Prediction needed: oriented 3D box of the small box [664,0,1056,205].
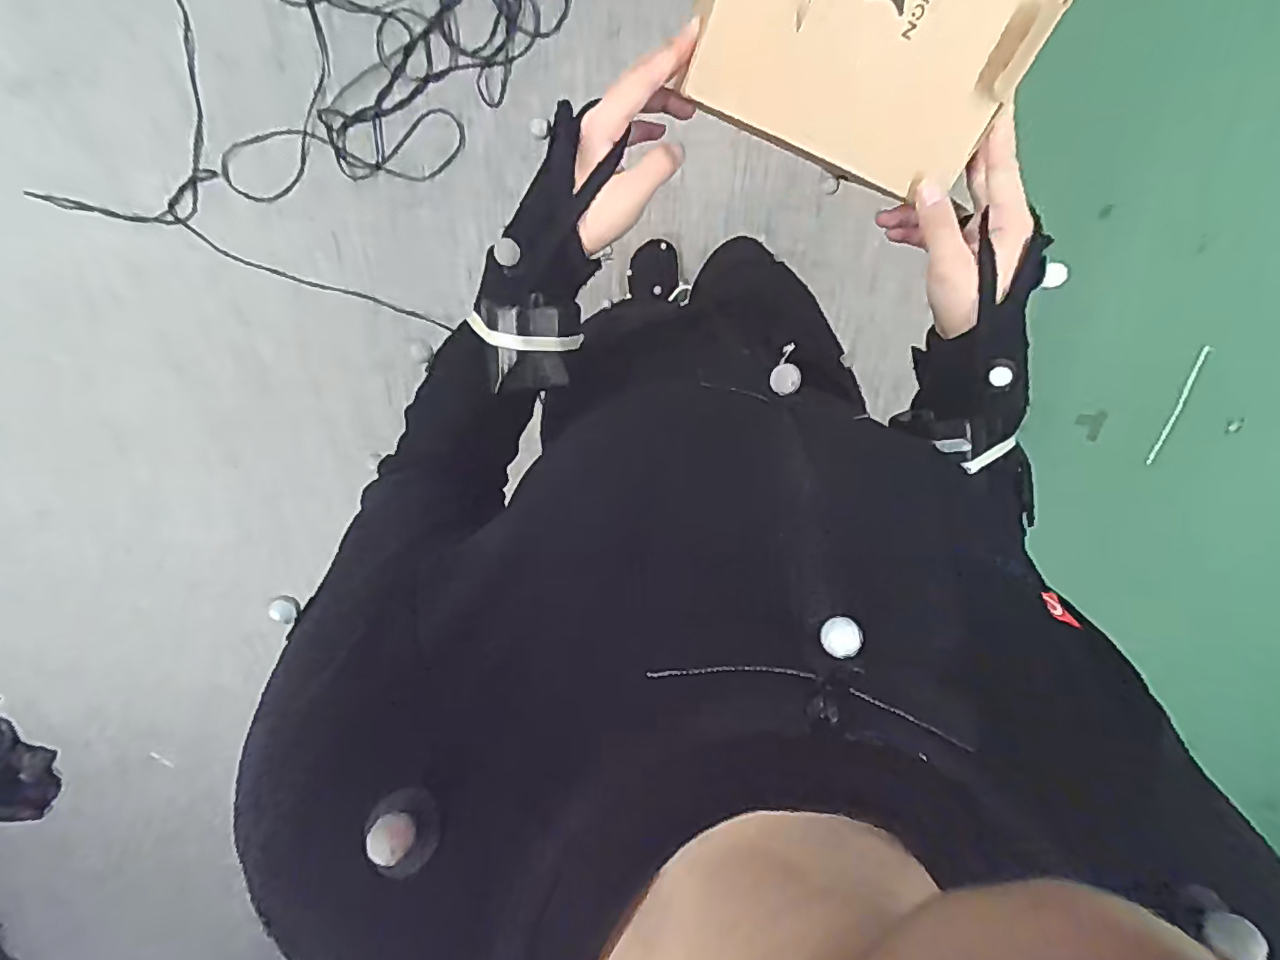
[{"bbox_3d":[0.125,-0.300,0.338,0.179,0.176,0.168,15,123,-12],"label":"small box"}]
